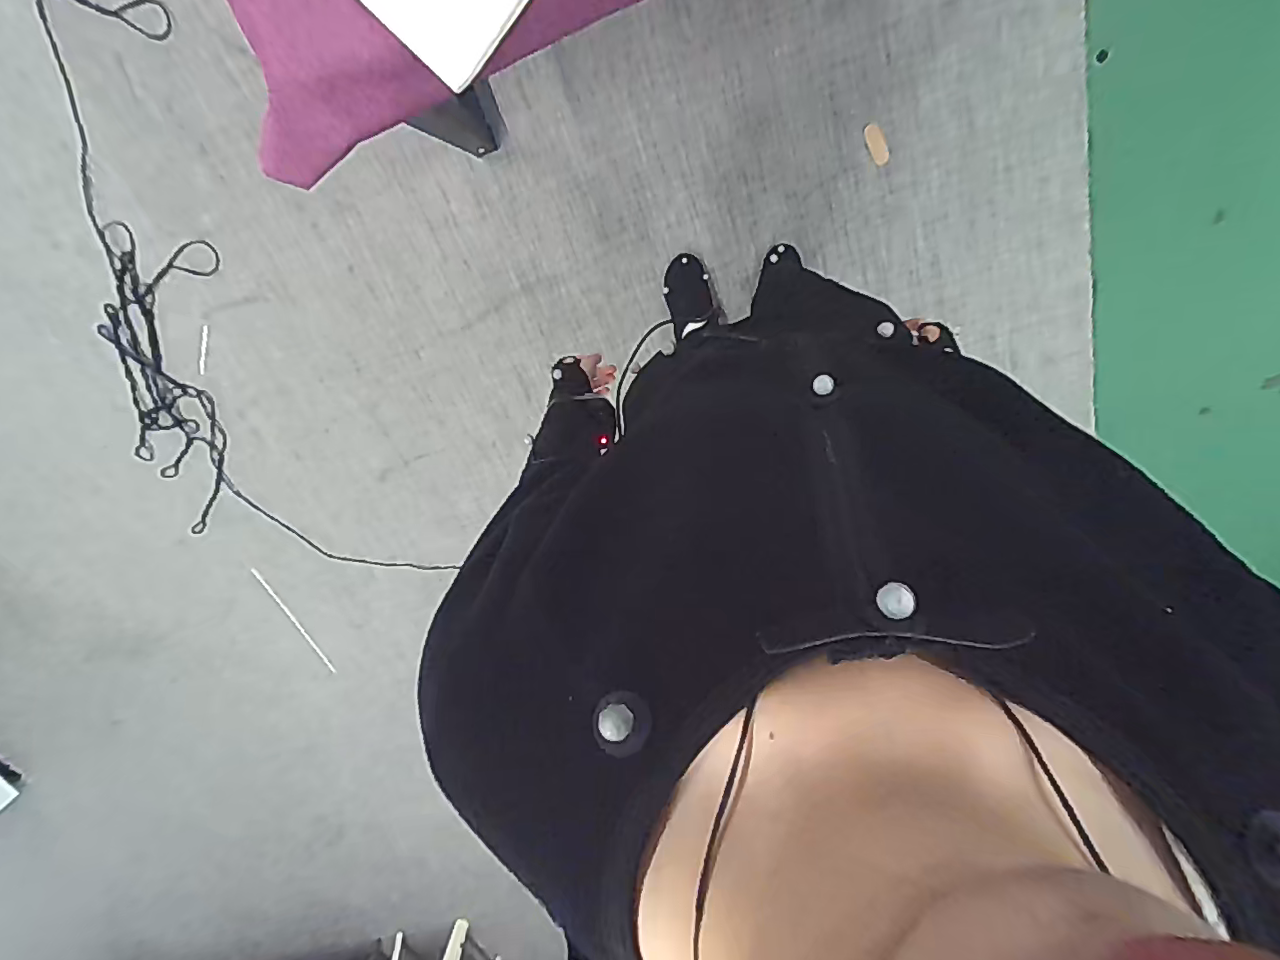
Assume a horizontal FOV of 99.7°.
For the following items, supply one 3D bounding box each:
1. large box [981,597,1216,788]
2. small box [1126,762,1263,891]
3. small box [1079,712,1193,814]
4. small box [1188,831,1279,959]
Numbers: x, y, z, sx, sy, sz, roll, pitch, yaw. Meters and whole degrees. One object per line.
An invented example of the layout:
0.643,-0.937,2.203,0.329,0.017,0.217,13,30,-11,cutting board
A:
1.356,0.632,1.636,0.408,0.320,0.320,-32,110,13,large box
1.301,0.808,1.270,0.179,0.176,0.168,-32,108,14,small box
1.307,0.740,1.418,0.168,0.176,0.179,-31,109,14,small box
1.299,0.873,1.118,0.179,0.176,0.168,-31,109,15,small box
